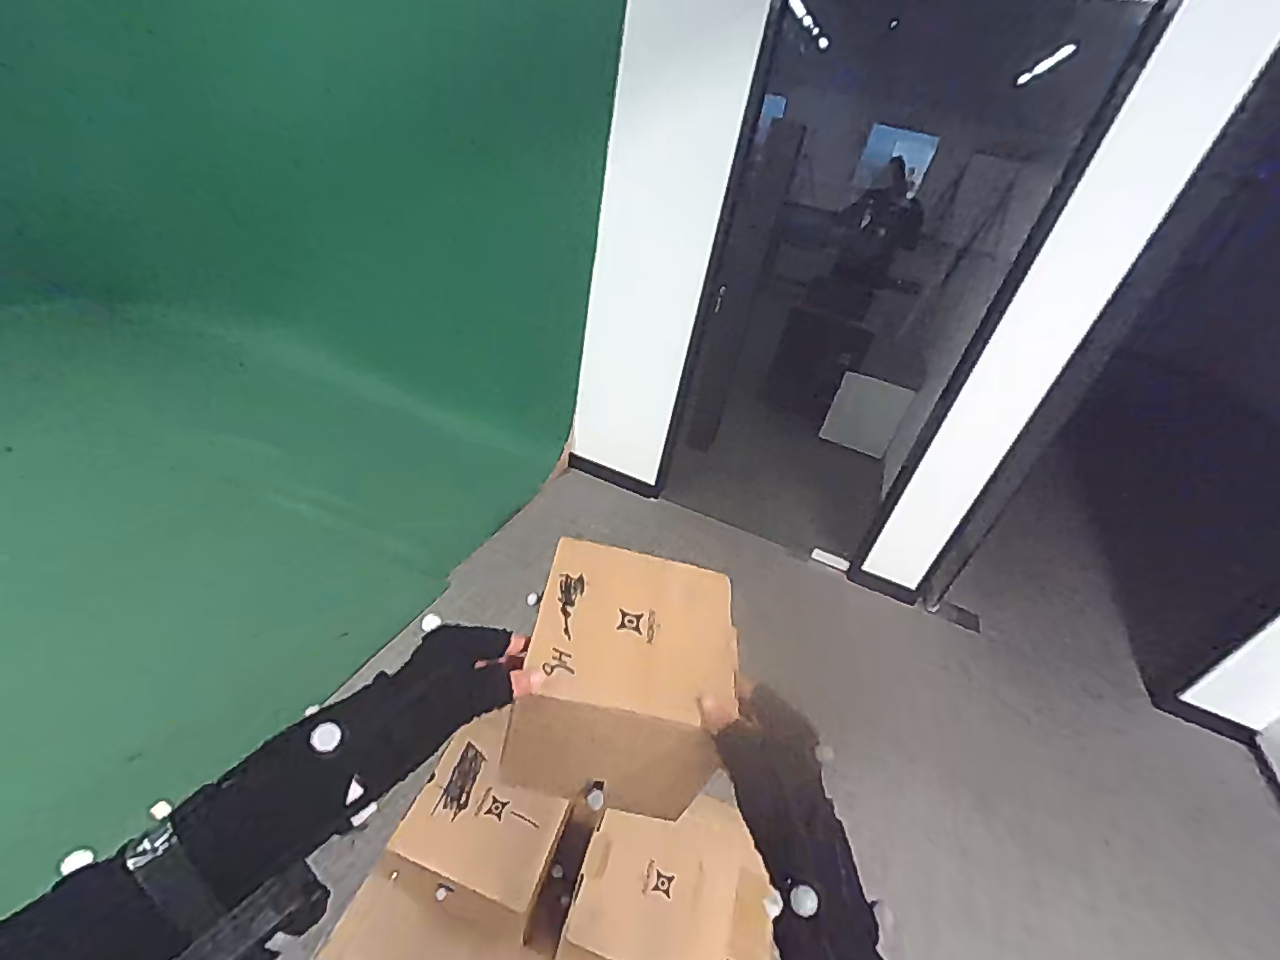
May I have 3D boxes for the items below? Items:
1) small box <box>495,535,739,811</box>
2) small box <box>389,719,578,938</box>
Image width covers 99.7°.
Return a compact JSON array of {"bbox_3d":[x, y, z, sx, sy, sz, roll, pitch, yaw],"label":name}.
[{"bbox_3d":[-0.022,0.185,0.514,0.179,0.176,0.168,16,36,-6],"label":"small box"},{"bbox_3d":[-0.191,0.454,0.705,0.179,0.176,0.168,19,40,8],"label":"small box"}]
